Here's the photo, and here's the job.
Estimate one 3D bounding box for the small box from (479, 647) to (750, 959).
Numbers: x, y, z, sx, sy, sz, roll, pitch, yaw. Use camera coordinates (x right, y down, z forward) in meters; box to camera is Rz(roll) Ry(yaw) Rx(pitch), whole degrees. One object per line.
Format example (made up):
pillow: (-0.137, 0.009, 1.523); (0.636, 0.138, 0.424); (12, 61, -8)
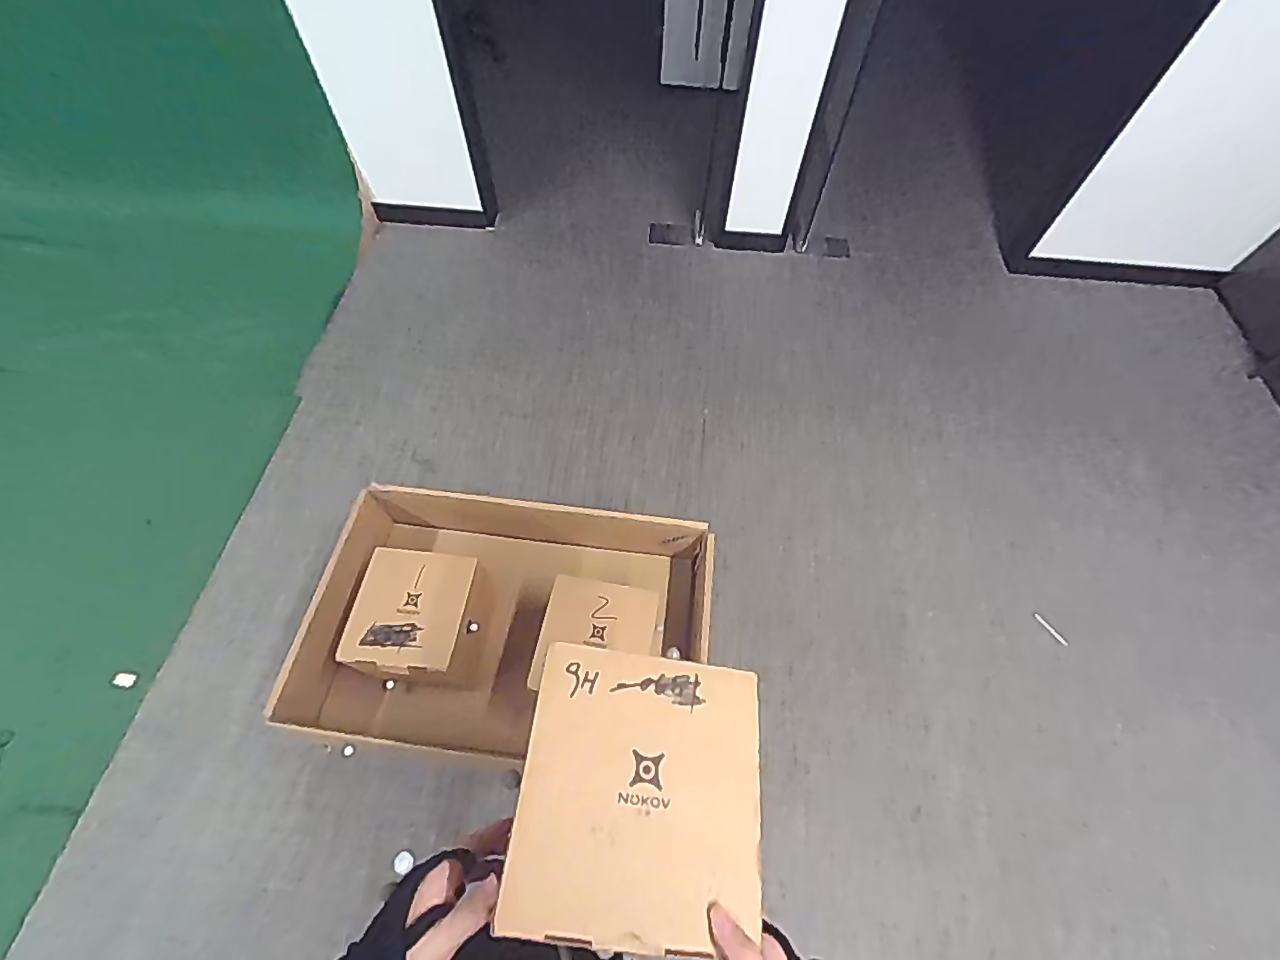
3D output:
small box: (-0.018, 0.255, 0.436); (0.168, 0.176, 0.179); (11, 57, -5)

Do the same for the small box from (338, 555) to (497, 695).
small box: (-0.344, 0.241, 0.879); (0.168, 0.176, 0.179); (5, 59, 2)
